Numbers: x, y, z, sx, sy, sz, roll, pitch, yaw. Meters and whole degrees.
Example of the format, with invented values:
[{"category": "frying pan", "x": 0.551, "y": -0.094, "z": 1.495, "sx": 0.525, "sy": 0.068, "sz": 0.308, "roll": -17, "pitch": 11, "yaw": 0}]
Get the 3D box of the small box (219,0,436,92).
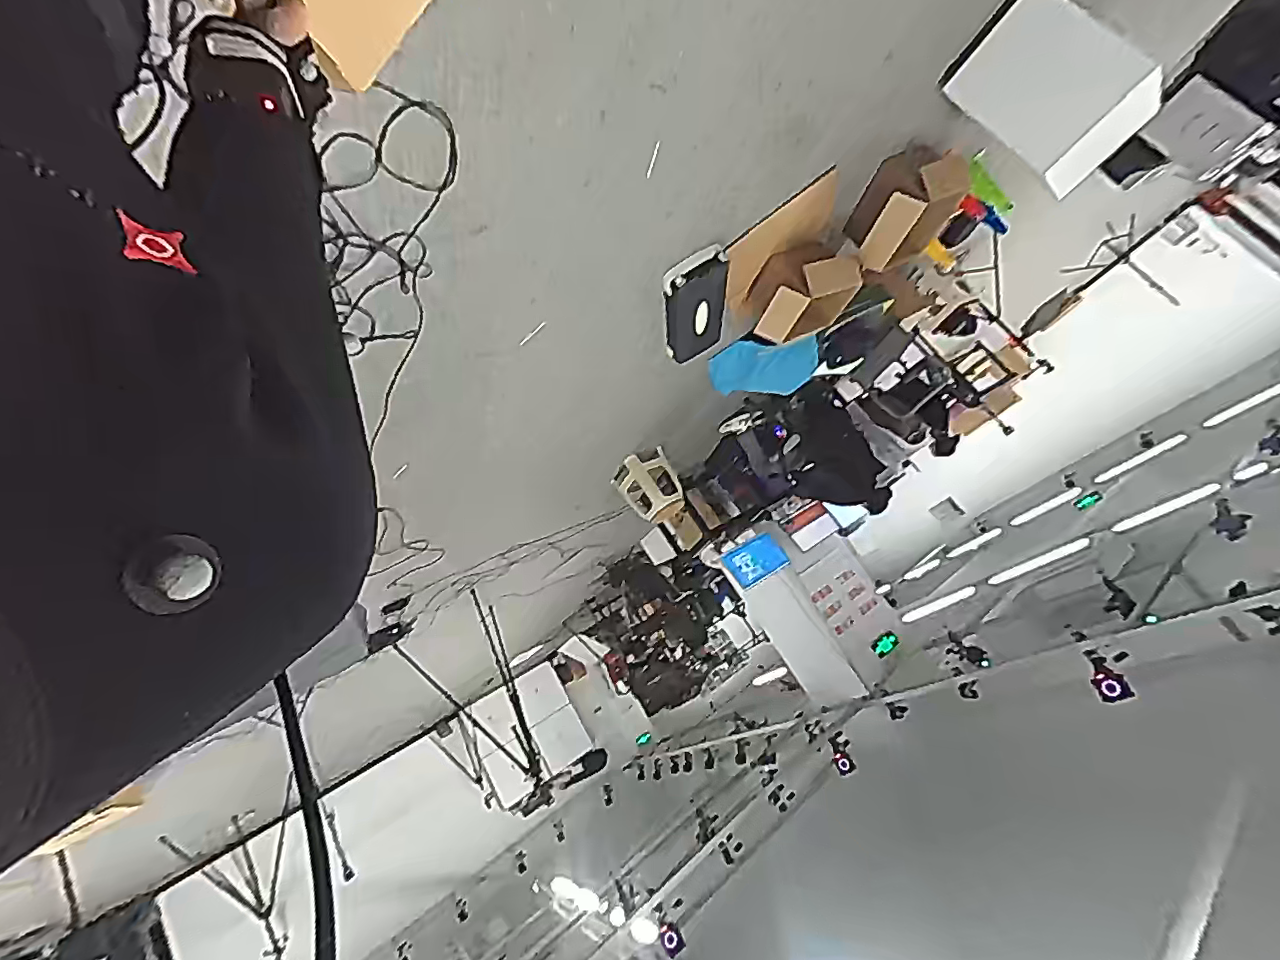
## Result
[{"category": "small box", "x": -0.313, "y": -0.515, "z": 0.506, "sx": 0.179, "sy": 0.176, "sz": 0.168, "roll": -57, "pitch": 151, "yaw": -3}]
